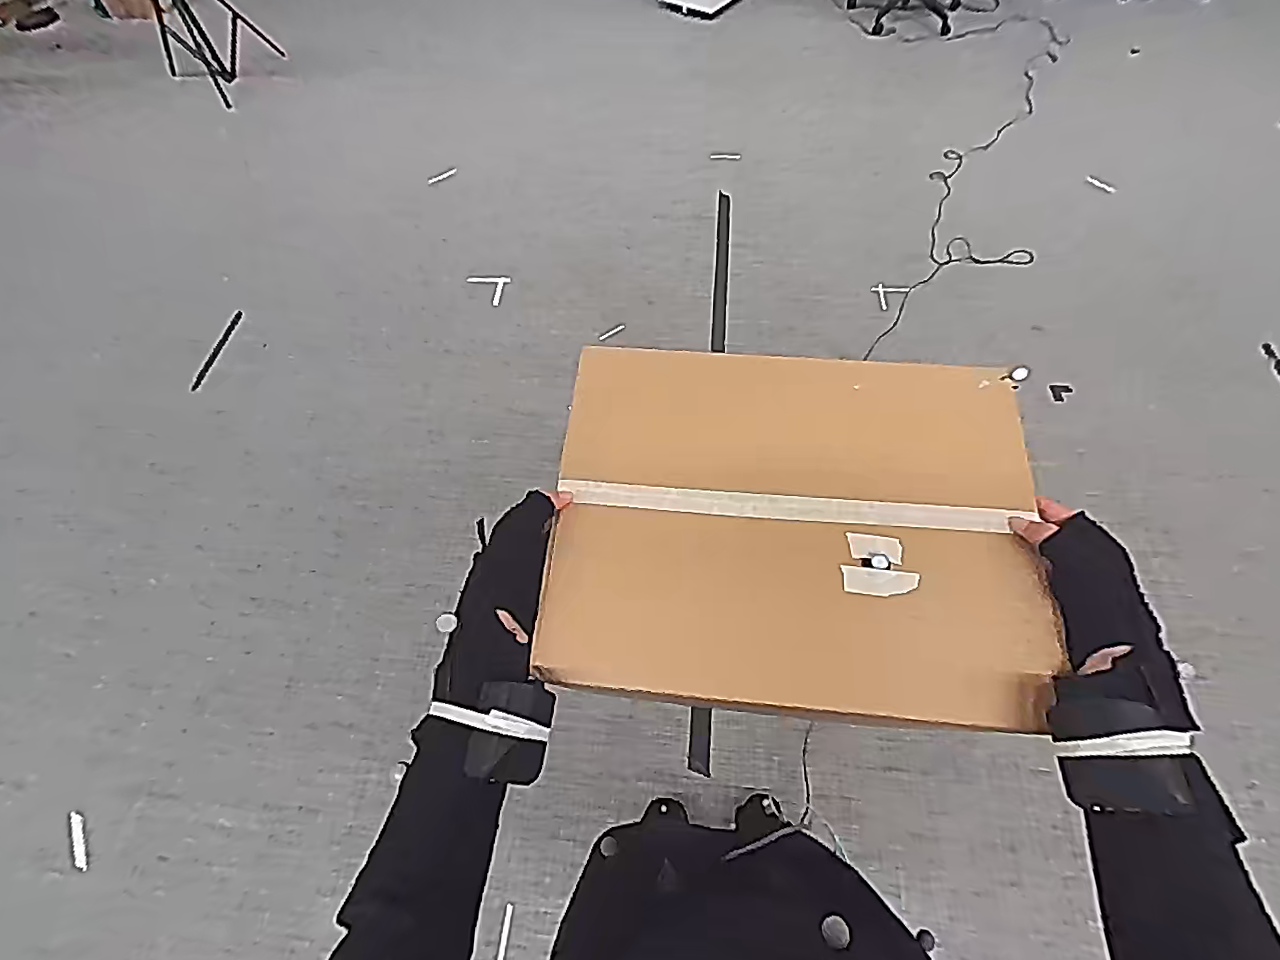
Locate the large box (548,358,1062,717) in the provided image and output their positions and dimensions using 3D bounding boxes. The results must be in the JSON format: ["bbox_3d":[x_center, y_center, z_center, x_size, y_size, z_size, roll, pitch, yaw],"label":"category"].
[{"bbox_3d":[0.137,0.086,0.612,0.408,0.320,0.320,4,68,4],"label":"large box"}]
